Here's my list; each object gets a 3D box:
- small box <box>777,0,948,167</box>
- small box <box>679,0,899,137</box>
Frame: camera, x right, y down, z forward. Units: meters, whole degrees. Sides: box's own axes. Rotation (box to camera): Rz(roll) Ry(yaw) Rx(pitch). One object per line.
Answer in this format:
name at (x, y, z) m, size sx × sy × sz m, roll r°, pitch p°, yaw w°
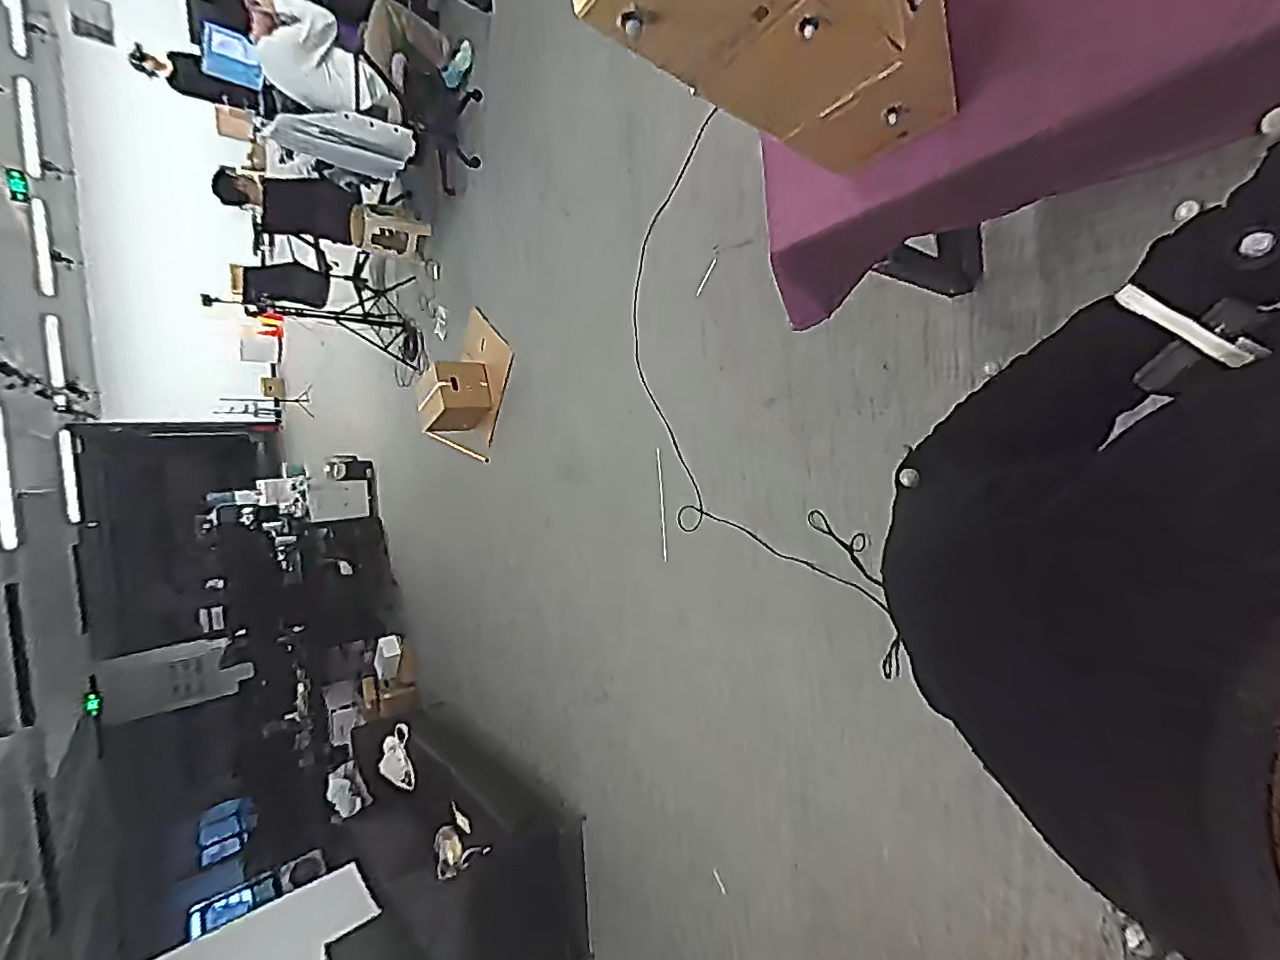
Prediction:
small box at (0.290, -0.550, 0.721) m, size 0.168 × 0.176 × 0.179 m, roll -6°, pitch 89°, yaw 48°
small box at (0.166, -0.538, 0.618) m, size 0.179 × 0.176 × 0.168 m, roll -9°, pitch 88°, yaw 48°
